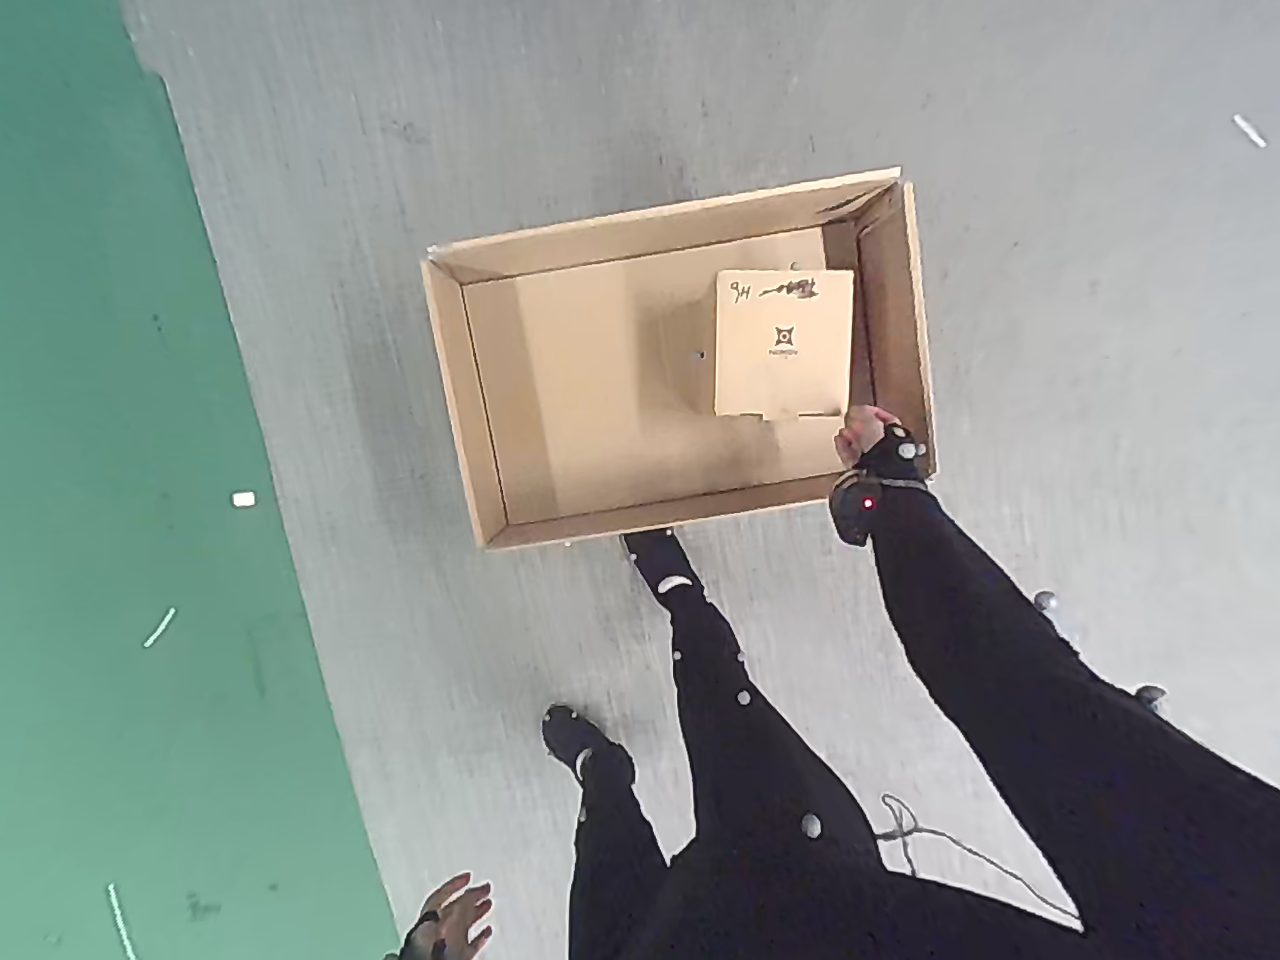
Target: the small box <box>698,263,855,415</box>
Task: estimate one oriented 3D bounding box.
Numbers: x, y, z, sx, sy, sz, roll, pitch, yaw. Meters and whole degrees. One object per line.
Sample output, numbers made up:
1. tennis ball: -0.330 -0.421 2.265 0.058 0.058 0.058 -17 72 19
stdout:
1. small box: 0.170 -0.180 0.729 0.168 0.176 0.179 1 98 -1
